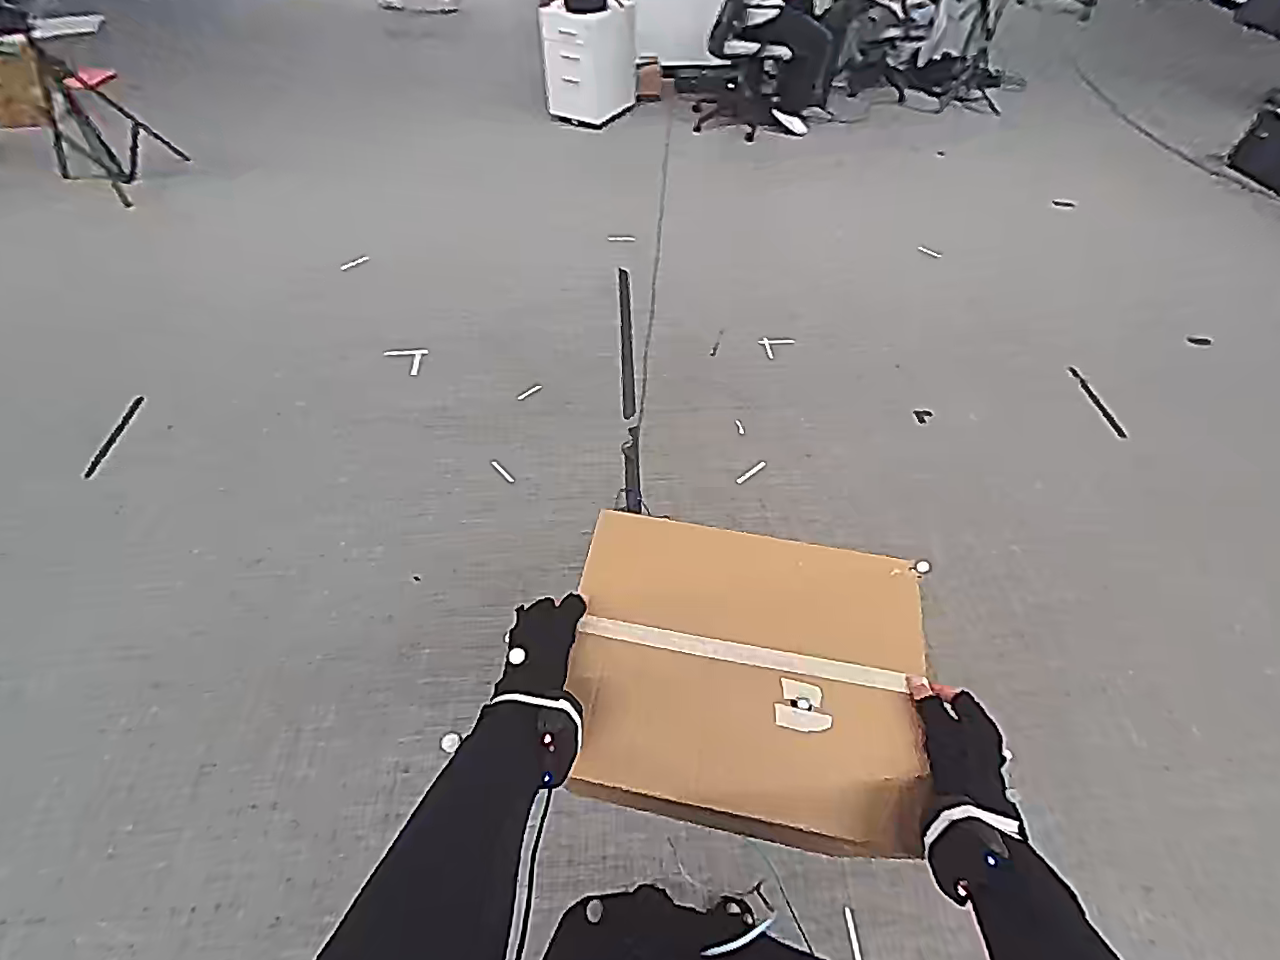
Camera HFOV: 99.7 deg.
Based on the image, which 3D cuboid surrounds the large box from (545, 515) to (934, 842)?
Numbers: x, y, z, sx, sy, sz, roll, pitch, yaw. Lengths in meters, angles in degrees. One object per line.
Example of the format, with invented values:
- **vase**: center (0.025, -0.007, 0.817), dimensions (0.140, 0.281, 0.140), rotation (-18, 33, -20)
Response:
- **large box**: center (0.118, 0.280, 0.749), dimensions (0.408, 0.320, 0.320), rotation (9, 57, 6)
